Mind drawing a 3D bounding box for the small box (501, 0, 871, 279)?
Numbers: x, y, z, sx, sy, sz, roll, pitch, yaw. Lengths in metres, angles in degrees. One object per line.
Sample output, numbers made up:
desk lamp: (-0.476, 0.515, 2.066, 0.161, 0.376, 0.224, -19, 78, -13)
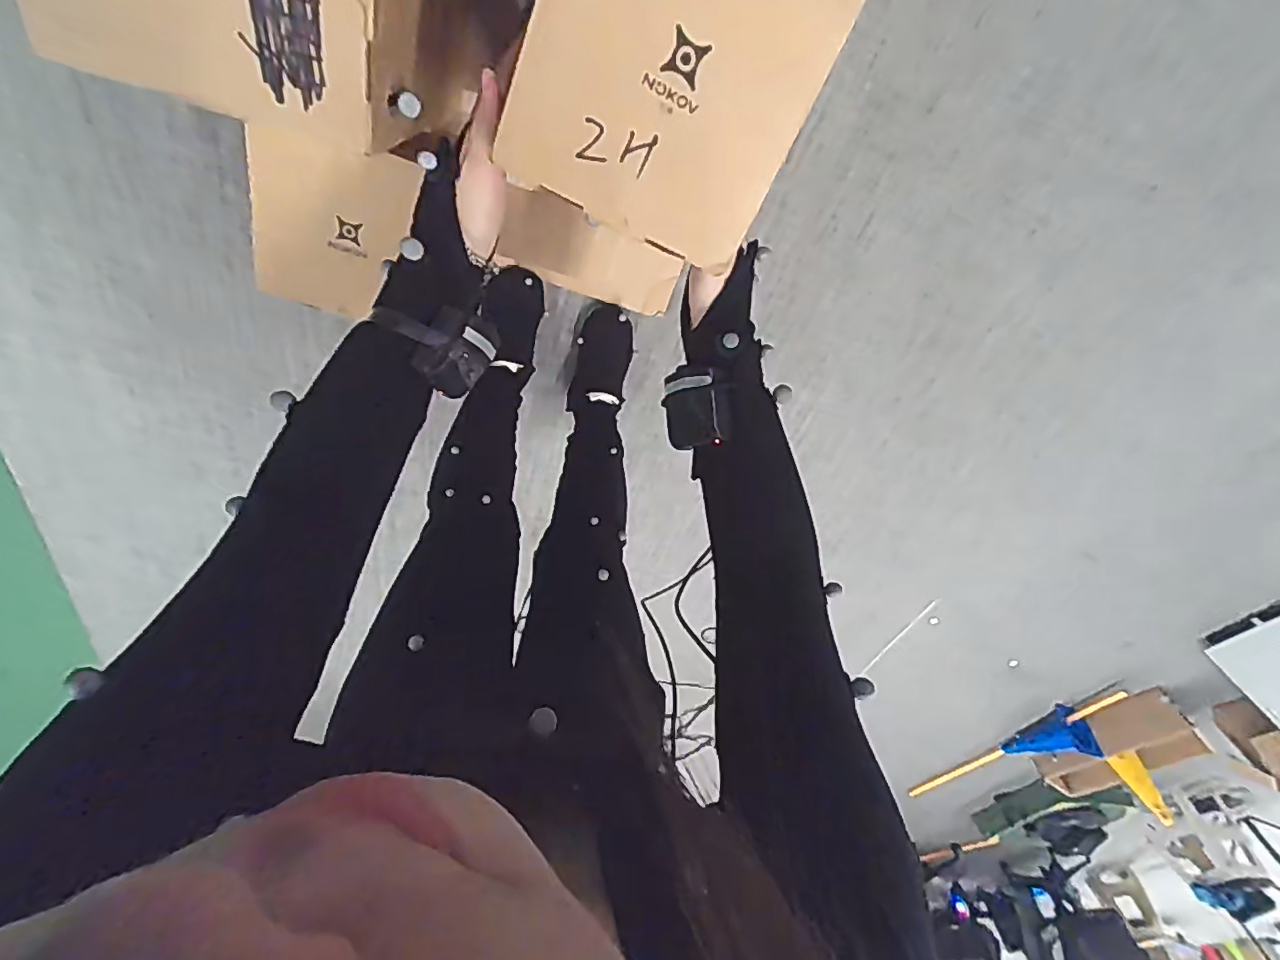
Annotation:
small box: (0.011, -0.274, 0.377, 0.168, 0.176, 0.179, 18, 118, -21)
